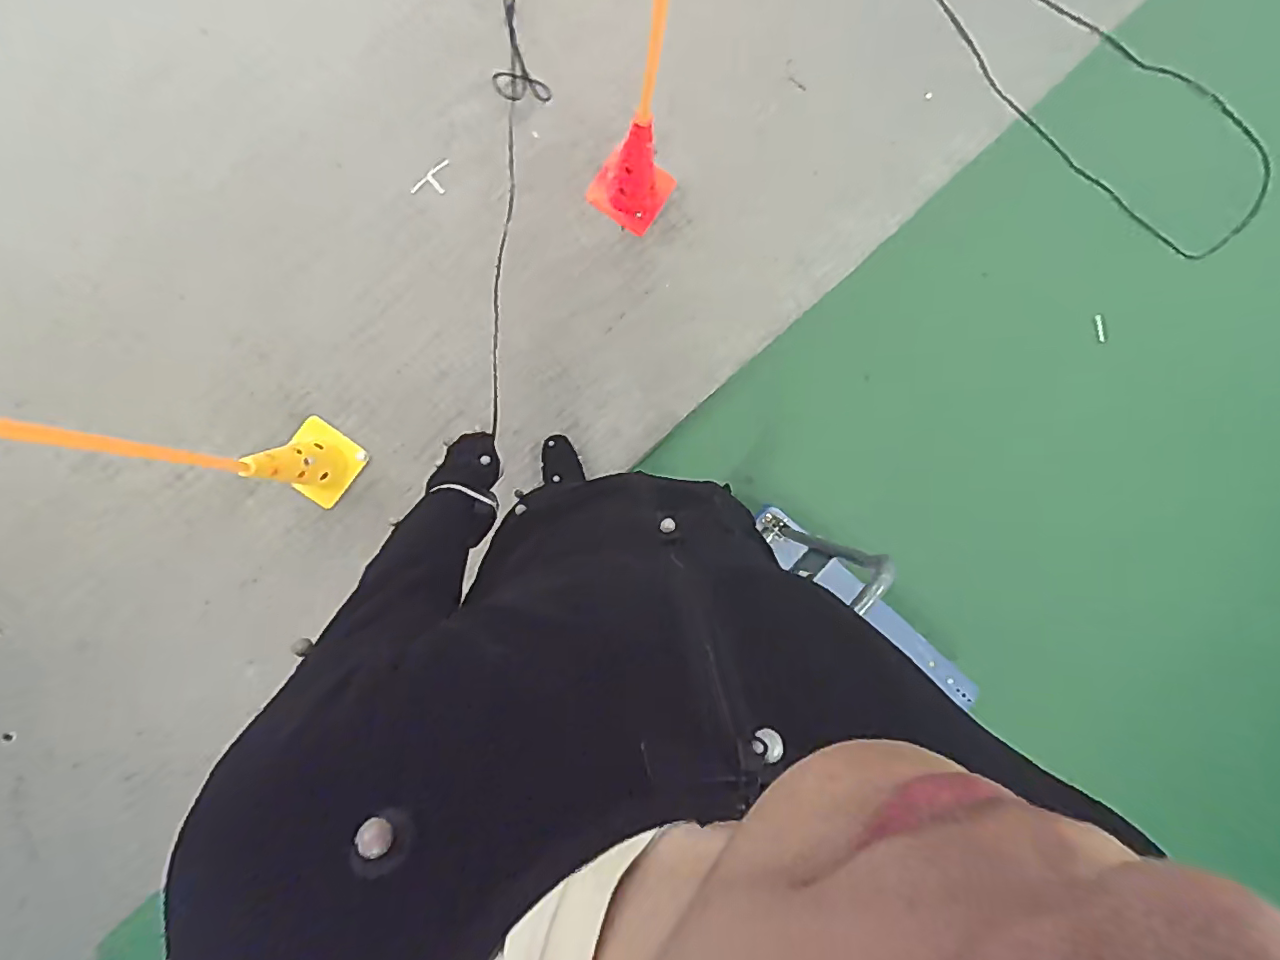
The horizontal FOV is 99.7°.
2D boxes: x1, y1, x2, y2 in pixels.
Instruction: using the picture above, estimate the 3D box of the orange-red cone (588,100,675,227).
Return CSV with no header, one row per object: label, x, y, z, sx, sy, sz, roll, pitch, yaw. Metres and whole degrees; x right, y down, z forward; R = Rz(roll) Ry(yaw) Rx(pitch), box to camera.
orange-red cone,-0.004,-0.843,1.380,0.198,0.360,0.199,33,89,-8
